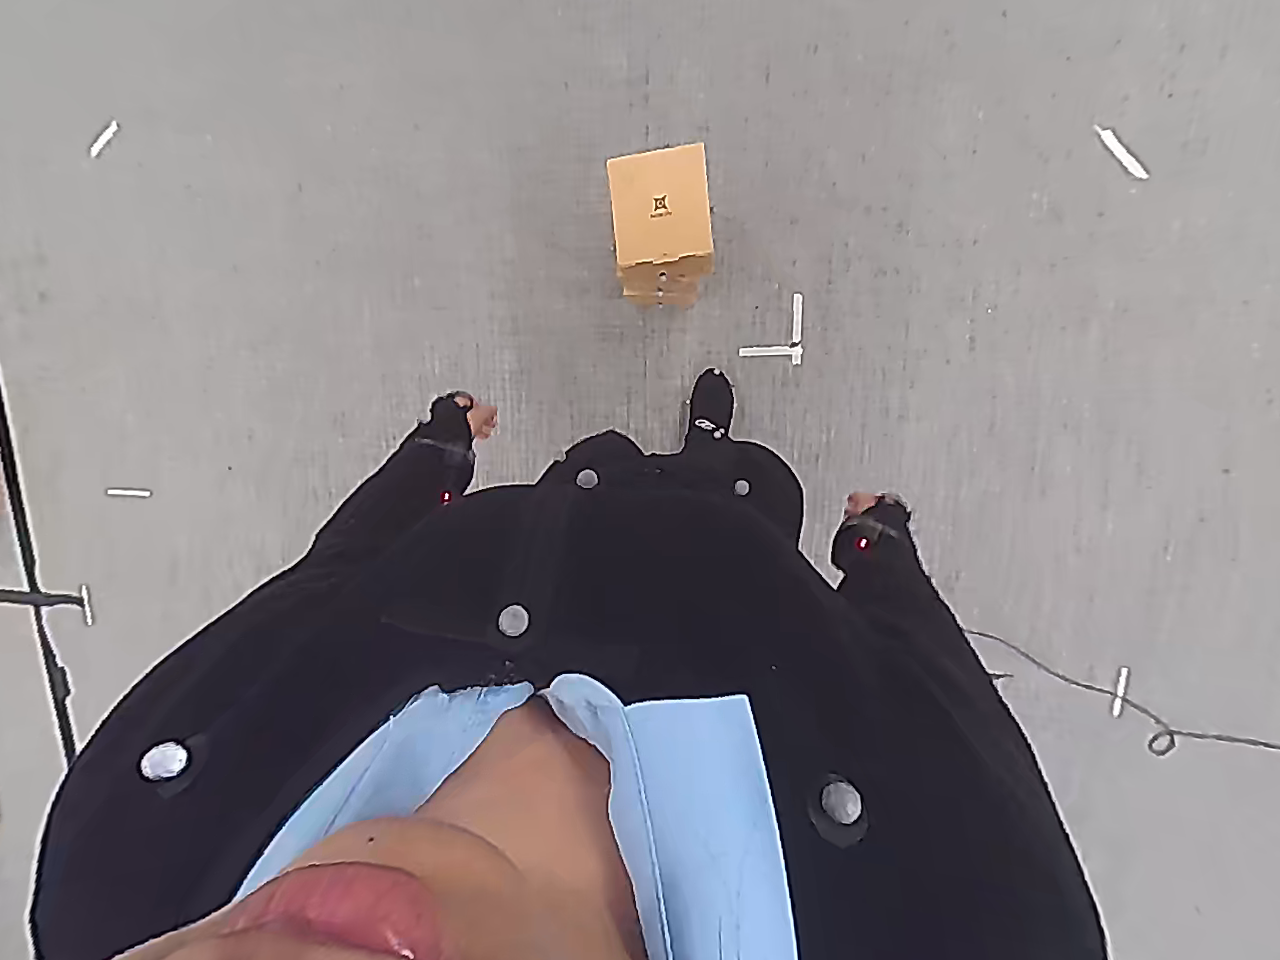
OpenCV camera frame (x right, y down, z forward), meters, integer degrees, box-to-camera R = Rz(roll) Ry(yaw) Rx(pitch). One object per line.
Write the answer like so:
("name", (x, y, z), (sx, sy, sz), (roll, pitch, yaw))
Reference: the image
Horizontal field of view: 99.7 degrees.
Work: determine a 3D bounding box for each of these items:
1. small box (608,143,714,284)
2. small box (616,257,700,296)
("small box", (0.043, -0.471, 0.980), (0.168, 0.176, 0.179), (-5, 100, 8))
("small box", (0.049, -0.499, 1.141), (0.168, 0.176, 0.179), (6, 101, 7))
